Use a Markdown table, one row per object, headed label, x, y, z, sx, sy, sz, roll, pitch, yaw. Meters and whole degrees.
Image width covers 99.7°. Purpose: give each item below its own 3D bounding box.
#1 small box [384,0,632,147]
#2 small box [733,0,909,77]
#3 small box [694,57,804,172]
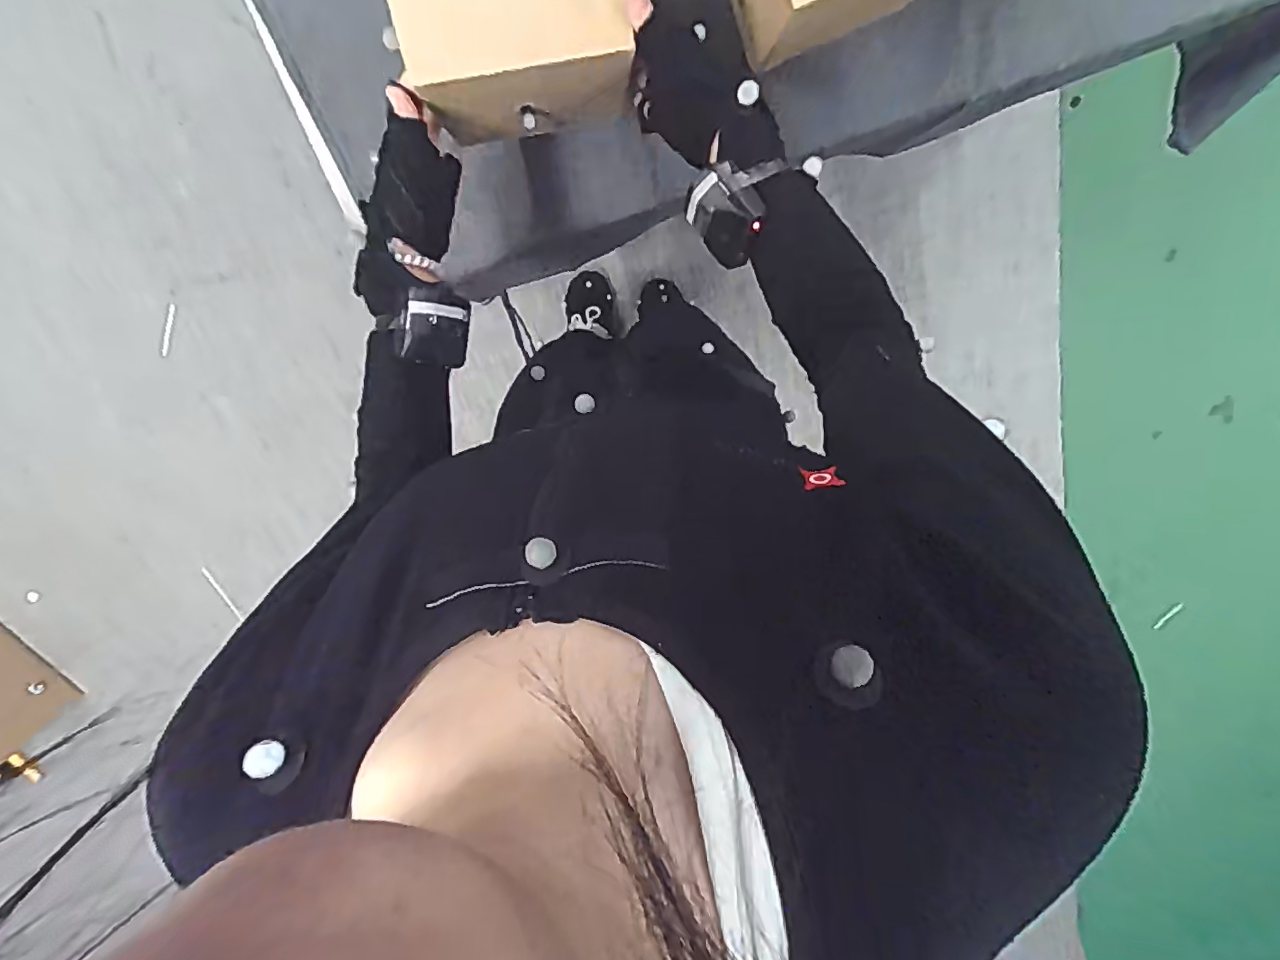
| label | x | y | z | sx | sy | sz | roll | pitch | yaw |
| --- | --- | --- | --- | --- | --- | --- | --- | --- | --- |
| small box | -0.105 | -0.389 | 0.433 | 0.168 | 0.176 | 0.179 | -12 | 109 | -3 |
| small box | 0.173 | -0.509 | 0.488 | 0.179 | 0.176 | 0.168 | -21 | 111 | 6 |
| small box | 0.227 | -0.787 | 1.159 | 0.179 | 0.176 | 0.168 | -18 | 111 | 6 |
